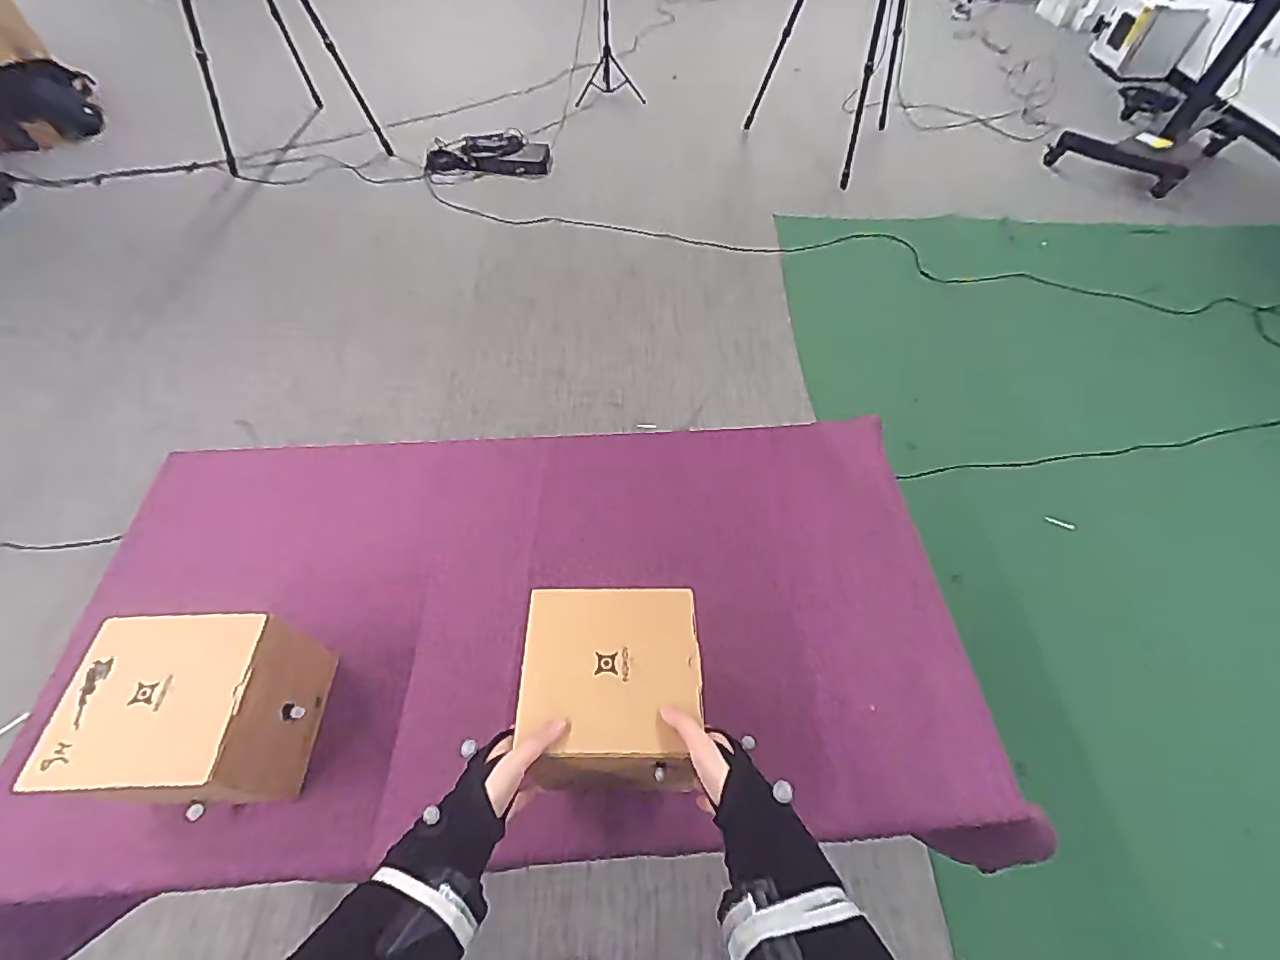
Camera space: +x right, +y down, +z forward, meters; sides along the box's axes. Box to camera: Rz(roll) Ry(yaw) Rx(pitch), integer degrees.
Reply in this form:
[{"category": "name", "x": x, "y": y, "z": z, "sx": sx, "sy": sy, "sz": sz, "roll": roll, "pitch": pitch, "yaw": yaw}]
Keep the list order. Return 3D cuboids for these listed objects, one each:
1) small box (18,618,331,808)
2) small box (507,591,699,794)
[{"category": "small box", "x": -0.485, "y": 0.264, "z": 0.606, "sx": 0.179, "sy": 0.176, "sz": 0.168, "roll": 0, "pitch": 54, "yaw": -2}, {"category": "small box", "x": -0.034, "y": 0.236, "z": 0.593, "sx": 0.179, "sy": 0.176, "sz": 0.168, "roll": 1, "pitch": 50, "yaw": -1}]
